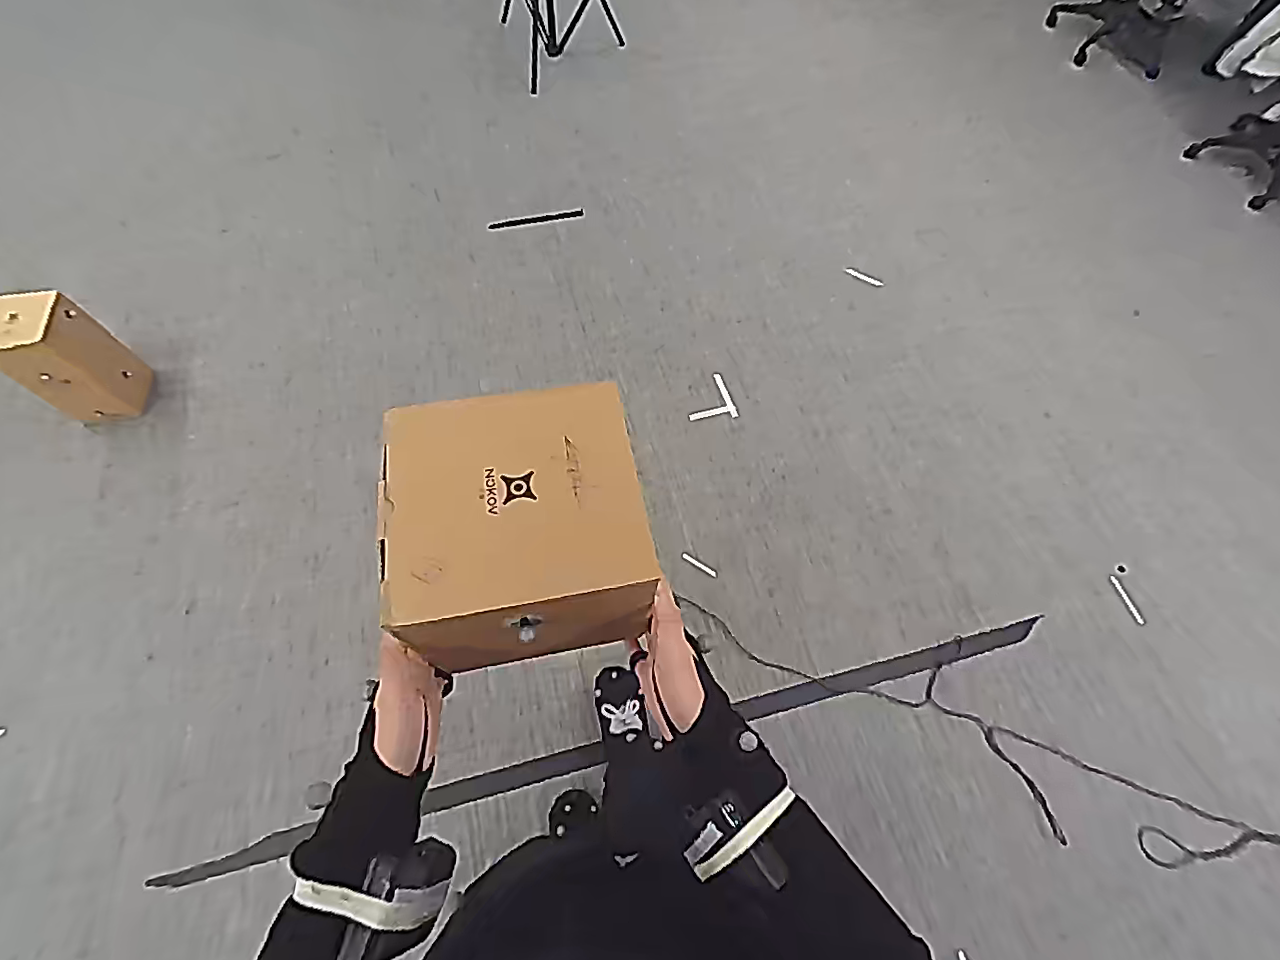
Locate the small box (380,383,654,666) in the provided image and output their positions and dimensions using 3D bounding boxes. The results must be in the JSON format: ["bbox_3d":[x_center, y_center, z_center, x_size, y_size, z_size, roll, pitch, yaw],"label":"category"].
[{"bbox_3d":[-0.094,0.044,0.447,0.179,0.176,0.168,-9,63,-10],"label":"small box"}]

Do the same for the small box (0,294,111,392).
[{"bbox_3d":[-1.549,-0.355,1.413,0.168,0.176,0.179,-9,66,-7],"label":"small box"}]
